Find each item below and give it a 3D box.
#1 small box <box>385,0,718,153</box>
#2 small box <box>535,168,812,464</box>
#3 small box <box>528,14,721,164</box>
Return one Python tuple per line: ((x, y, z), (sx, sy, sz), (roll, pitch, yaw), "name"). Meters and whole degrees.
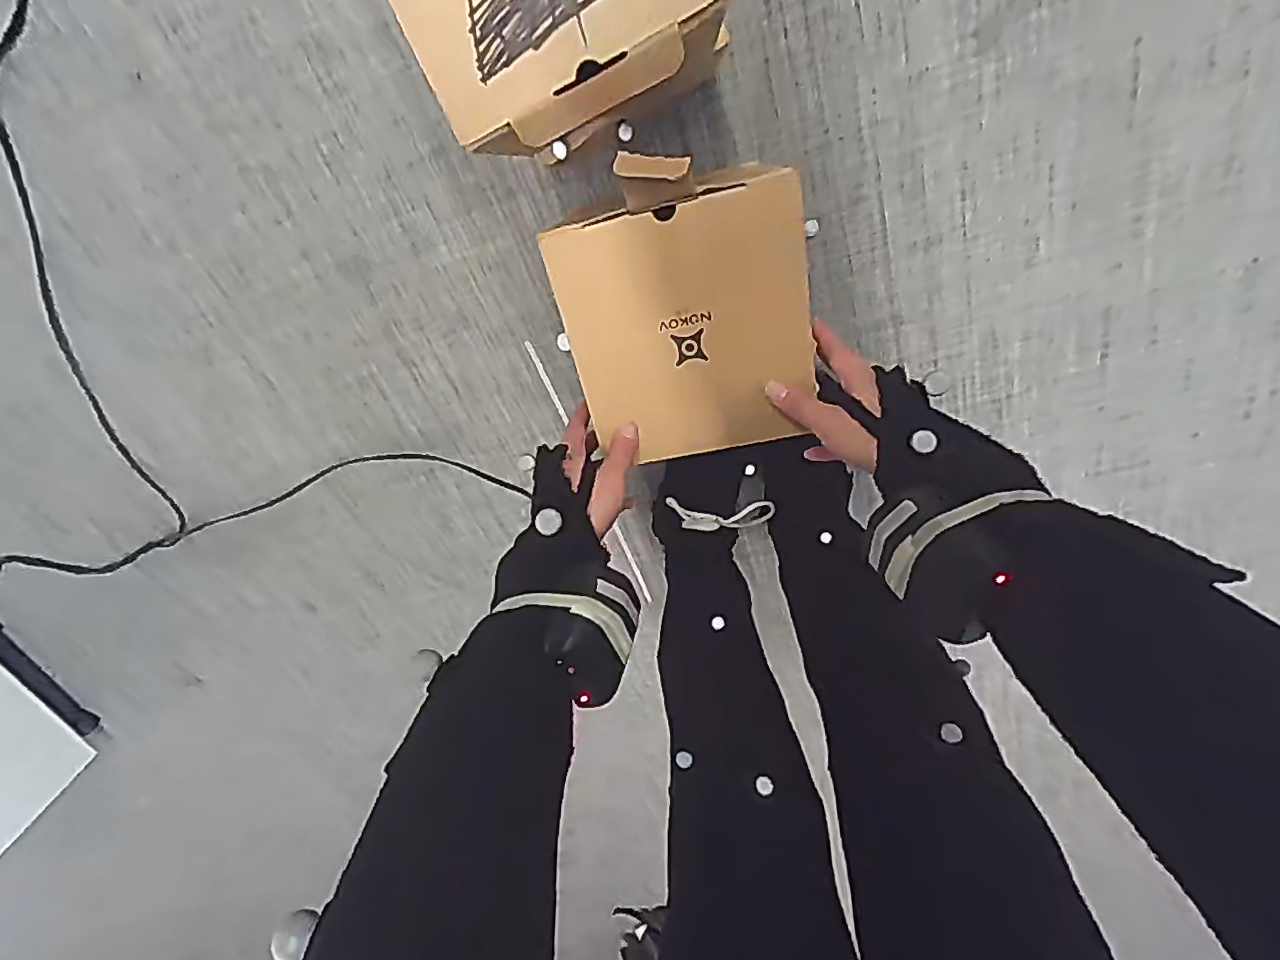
((-0.060, -0.327, 0.330), (0.168, 0.176, 0.179), (-20, 116, 13), "small box")
((0.036, -0.138, 0.440), (0.168, 0.176, 0.179), (-10, 119, 10), "small box")
((-0.043, -0.403, 0.476), (0.179, 0.176, 0.168), (-25, 115, 16), "small box")
